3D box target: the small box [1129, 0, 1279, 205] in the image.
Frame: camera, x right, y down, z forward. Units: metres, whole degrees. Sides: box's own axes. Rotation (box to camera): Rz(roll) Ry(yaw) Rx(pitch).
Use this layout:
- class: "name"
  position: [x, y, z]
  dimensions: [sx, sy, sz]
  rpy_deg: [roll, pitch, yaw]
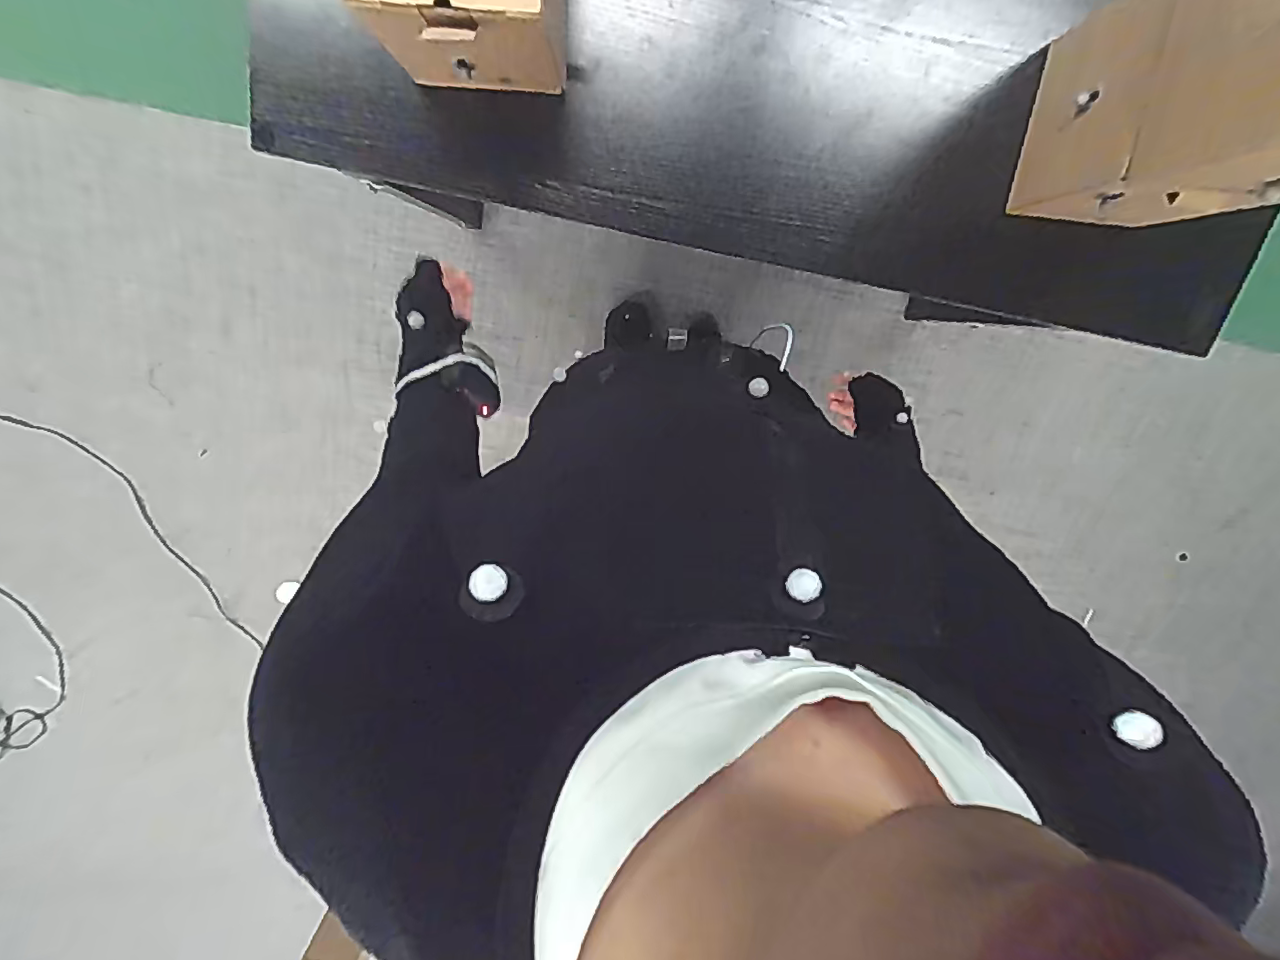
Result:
- class: "small box"
  position: [0.523, -0.319, 0.396]
  dimensions: [0.168, 0.176, 0.179]
  rpy_deg: [3, 107, -1]

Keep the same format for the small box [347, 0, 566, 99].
- class: "small box"
  position: [-0.160, -0.490, 0.502]
  dimensions: [0.168, 0.176, 0.179]
  rpy_deg: [2, 108, -2]

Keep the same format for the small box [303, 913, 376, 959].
- class: "small box"
  position: [-0.966, 1.539, 1.724]
  dimensions: [0.168, 0.176, 0.179]
  rpy_deg: [14, 106, -5]
